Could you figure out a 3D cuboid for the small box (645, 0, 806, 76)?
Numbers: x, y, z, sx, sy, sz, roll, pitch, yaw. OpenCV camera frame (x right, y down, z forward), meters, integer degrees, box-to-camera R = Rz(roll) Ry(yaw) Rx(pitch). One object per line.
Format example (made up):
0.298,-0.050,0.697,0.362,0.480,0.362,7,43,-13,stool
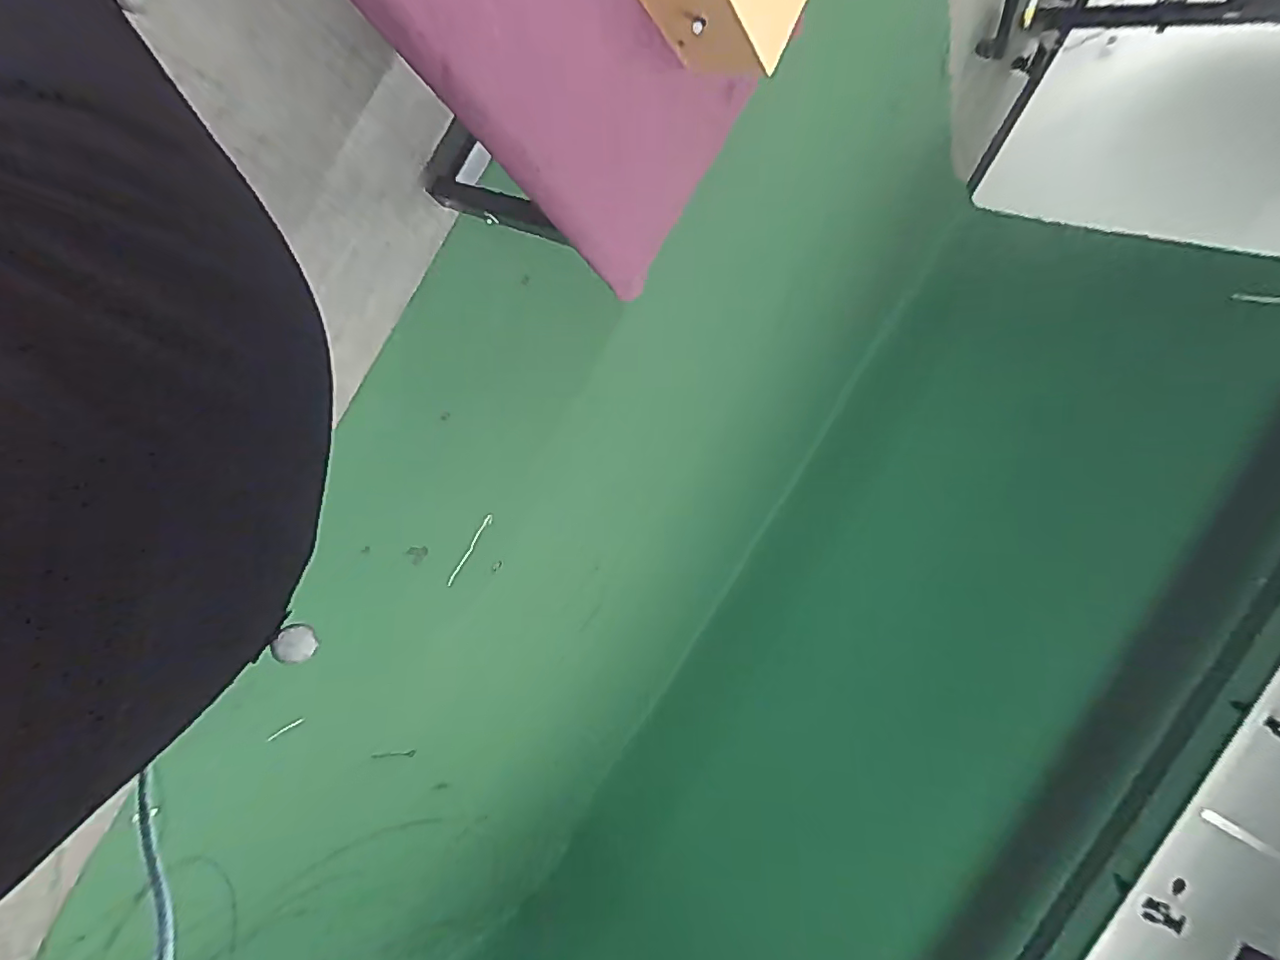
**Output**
0.125,-0.724,0.775,0.168,0.176,0.179,13,106,-54,small box
